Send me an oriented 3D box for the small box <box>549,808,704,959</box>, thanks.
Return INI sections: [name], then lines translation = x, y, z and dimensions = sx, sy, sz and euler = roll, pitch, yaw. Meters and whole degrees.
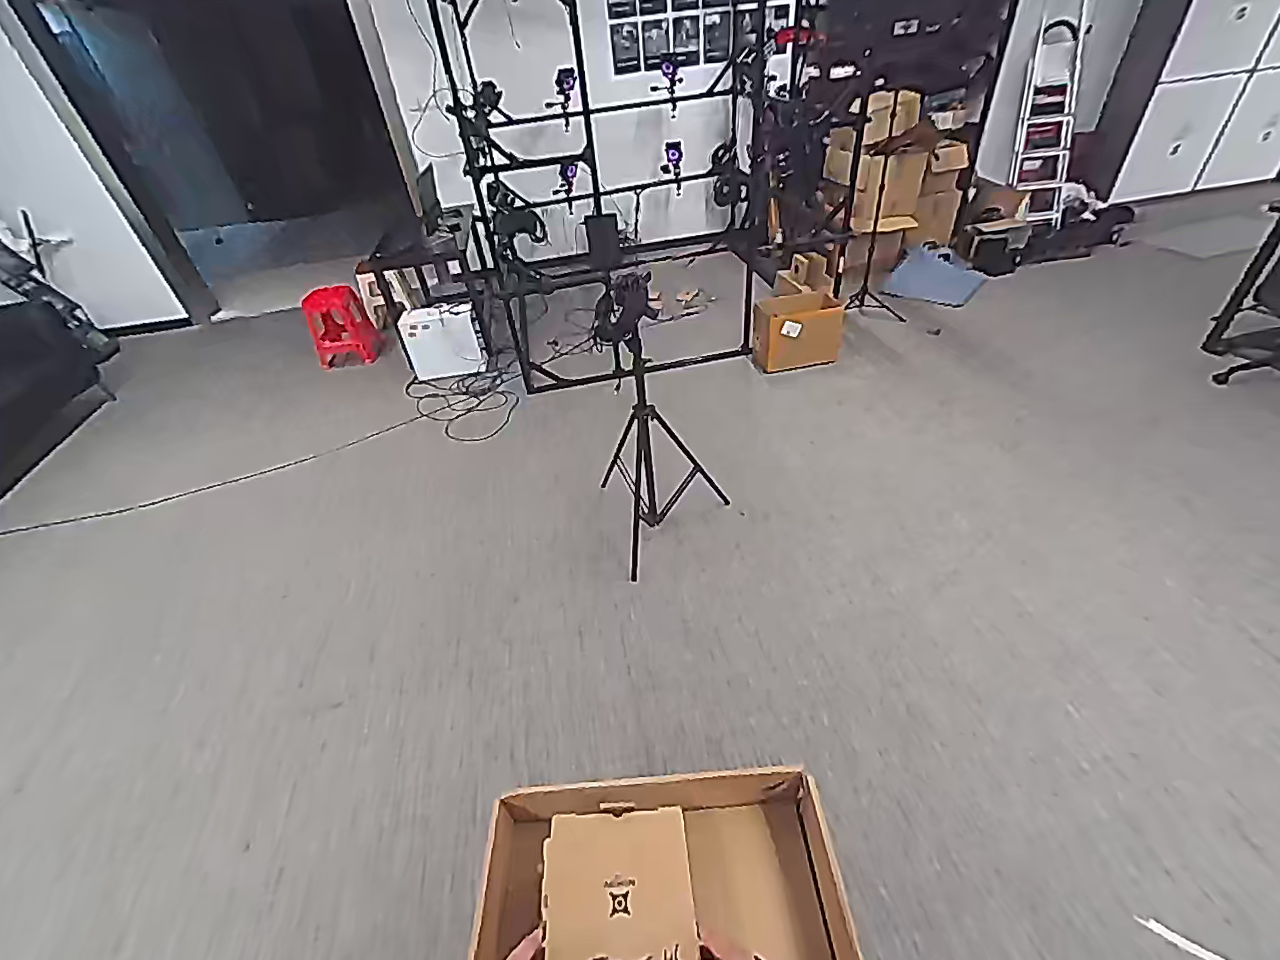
[small box]
translation = -0.019, 0.531, 0.657
dimensions = 0.168, 0.176, 0.179
euler = -2, 38, -3
